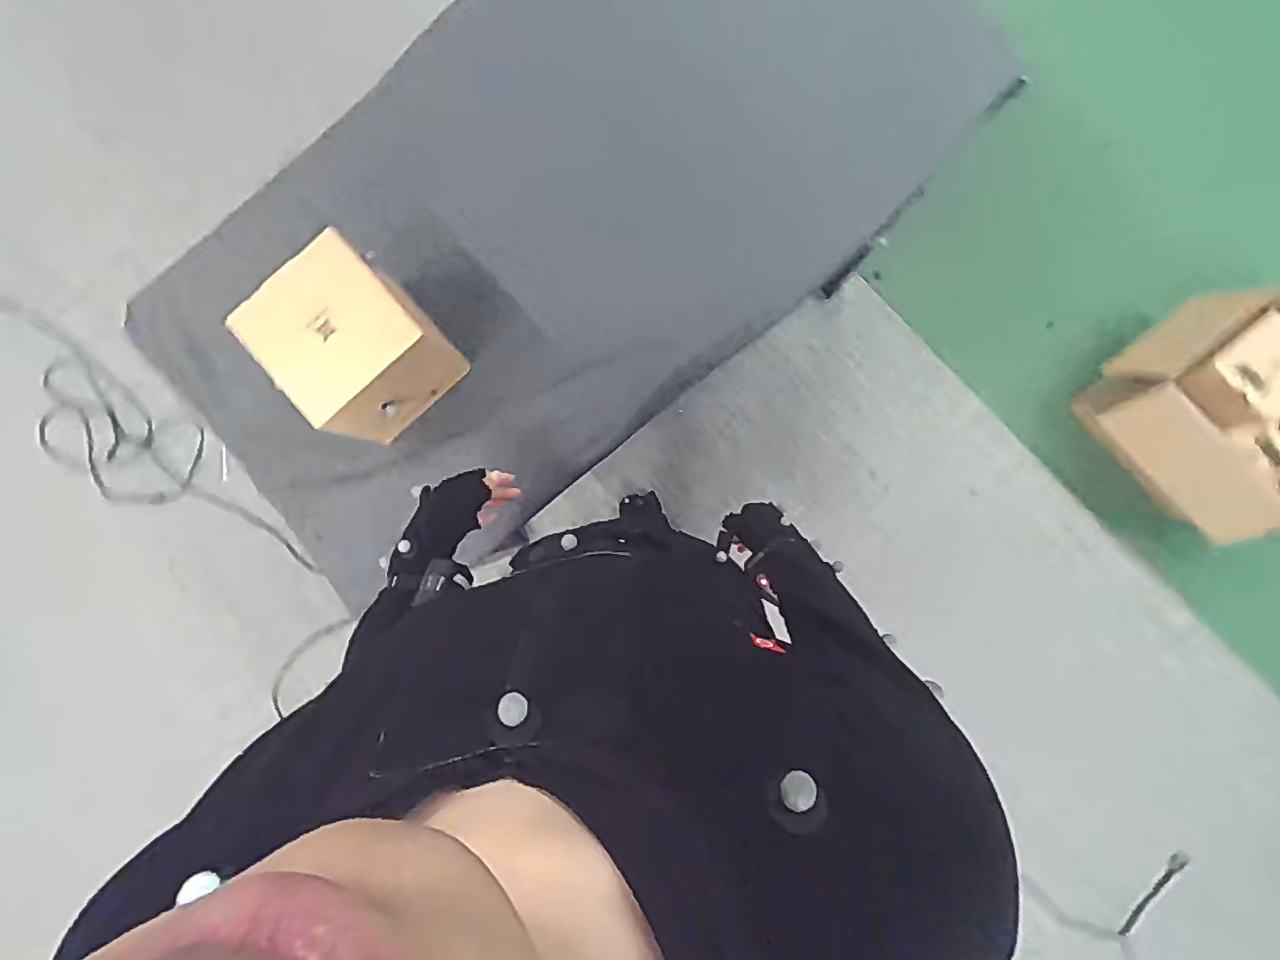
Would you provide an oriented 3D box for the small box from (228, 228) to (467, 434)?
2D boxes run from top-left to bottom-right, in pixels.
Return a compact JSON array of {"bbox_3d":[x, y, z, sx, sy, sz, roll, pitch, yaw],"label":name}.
[{"bbox_3d":[-0.360,-0.175,0.702,0.168,0.176,0.179,-43,86,0],"label":"small box"}]
